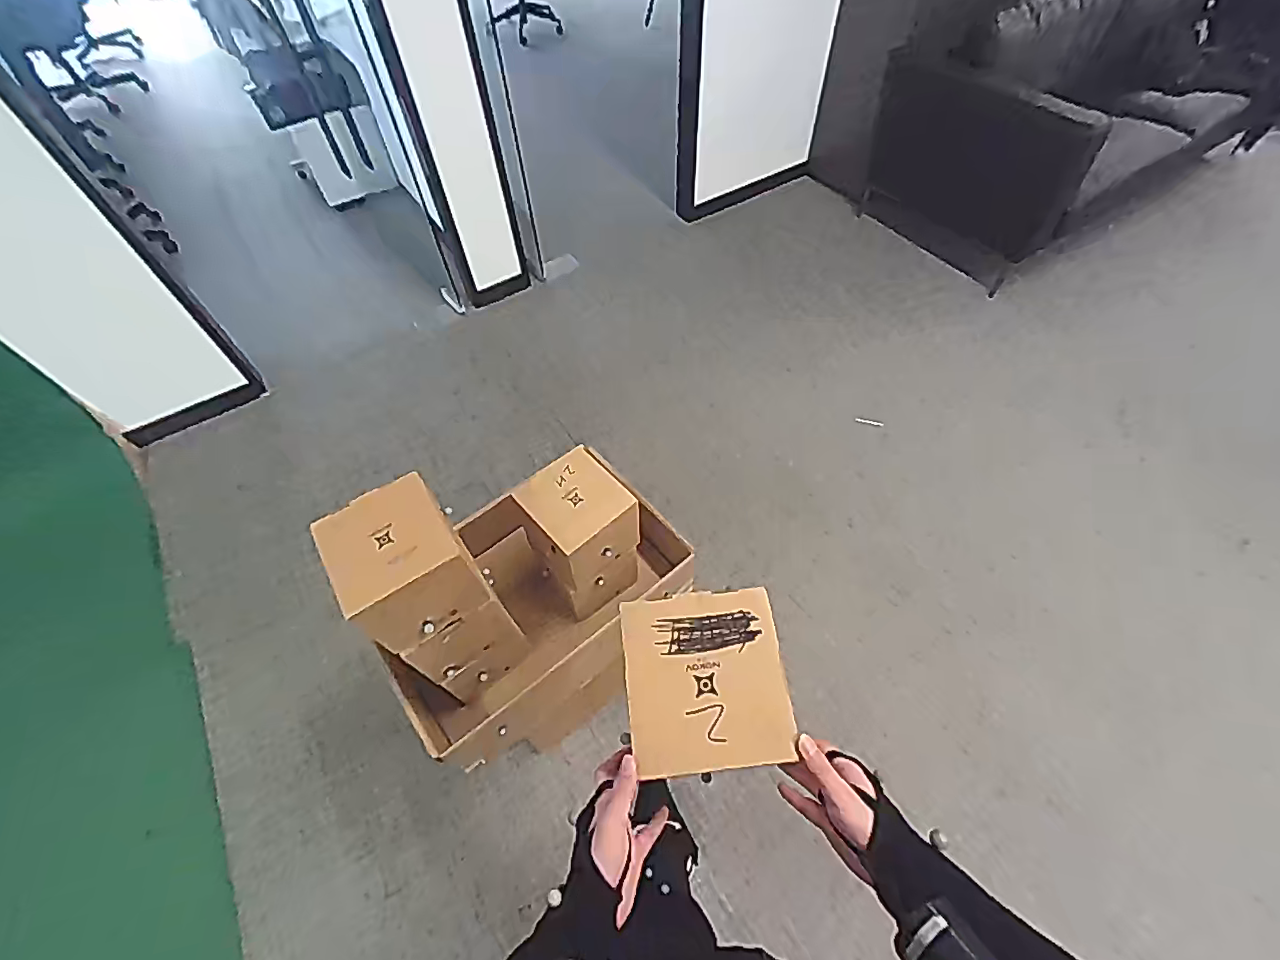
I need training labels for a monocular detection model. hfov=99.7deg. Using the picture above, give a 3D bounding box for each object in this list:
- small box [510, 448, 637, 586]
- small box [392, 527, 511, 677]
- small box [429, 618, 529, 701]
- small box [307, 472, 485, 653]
[{"bbox_3d":[-0.119,0.080,1.036,0.168,0.176,0.179,-36,62,-22],"label":"small box"},{"bbox_3d":[-0.348,0.220,0.947,0.168,0.176,0.179,-31,59,-18],"label":"small box"},{"bbox_3d":[-0.345,0.316,1.081,0.168,0.176,0.179,-35,61,-20],"label":"small box"},{"bbox_3d":[-0.358,0.127,0.814,0.168,0.176,0.179,-30,60,-17],"label":"small box"}]
